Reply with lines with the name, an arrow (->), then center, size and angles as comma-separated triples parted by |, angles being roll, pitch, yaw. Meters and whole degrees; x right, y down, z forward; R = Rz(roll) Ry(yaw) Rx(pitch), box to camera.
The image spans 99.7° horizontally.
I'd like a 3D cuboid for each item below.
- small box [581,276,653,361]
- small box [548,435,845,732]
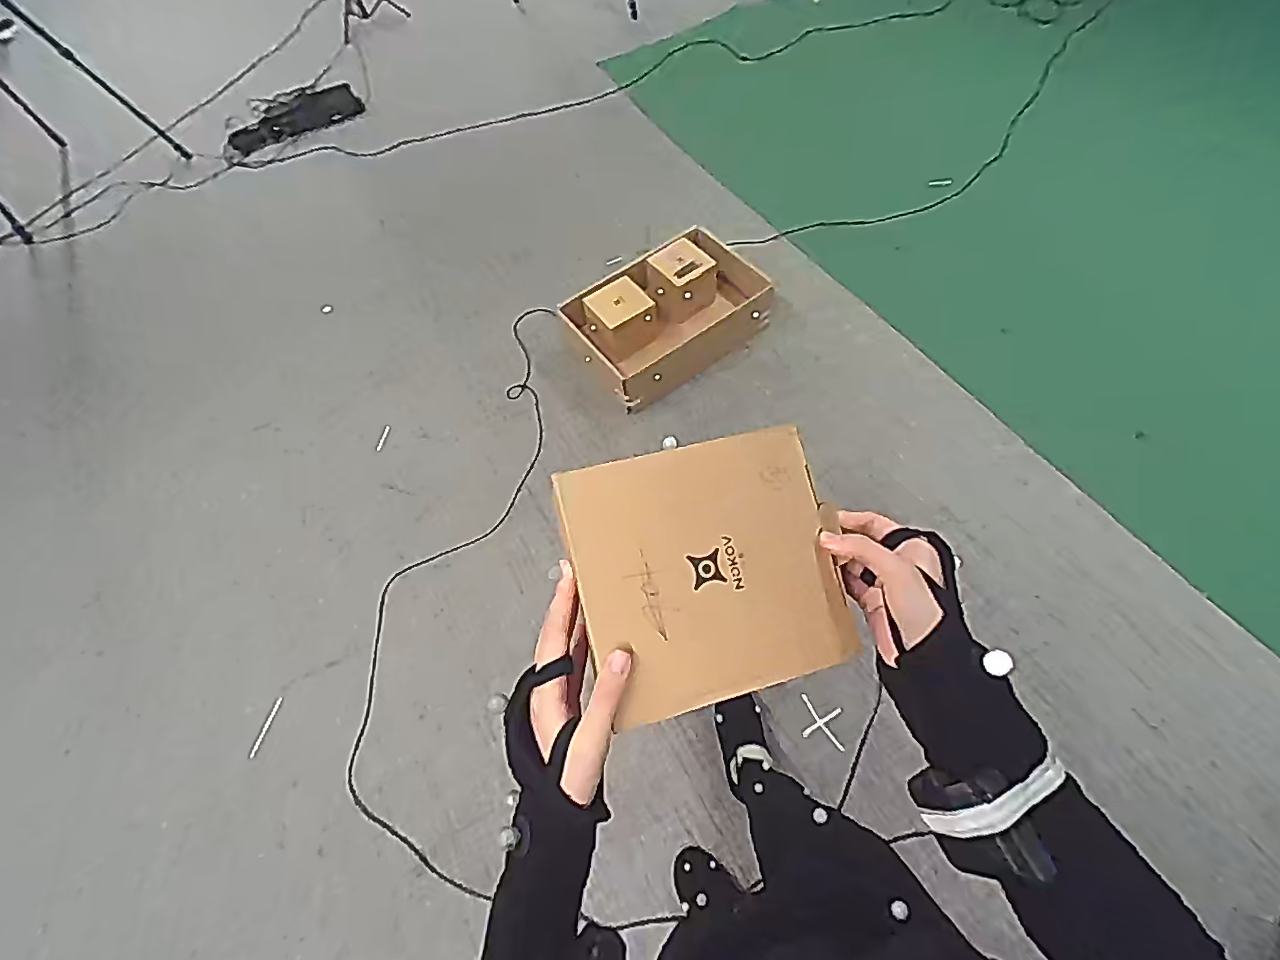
small box -> -0.070, -0.528, 1.788 | 0.179, 0.176, 0.168 | -34, 66, -14
small box -> 0.026, 0.072, 0.435 | 0.179, 0.176, 0.168 | -12, 83, -11
